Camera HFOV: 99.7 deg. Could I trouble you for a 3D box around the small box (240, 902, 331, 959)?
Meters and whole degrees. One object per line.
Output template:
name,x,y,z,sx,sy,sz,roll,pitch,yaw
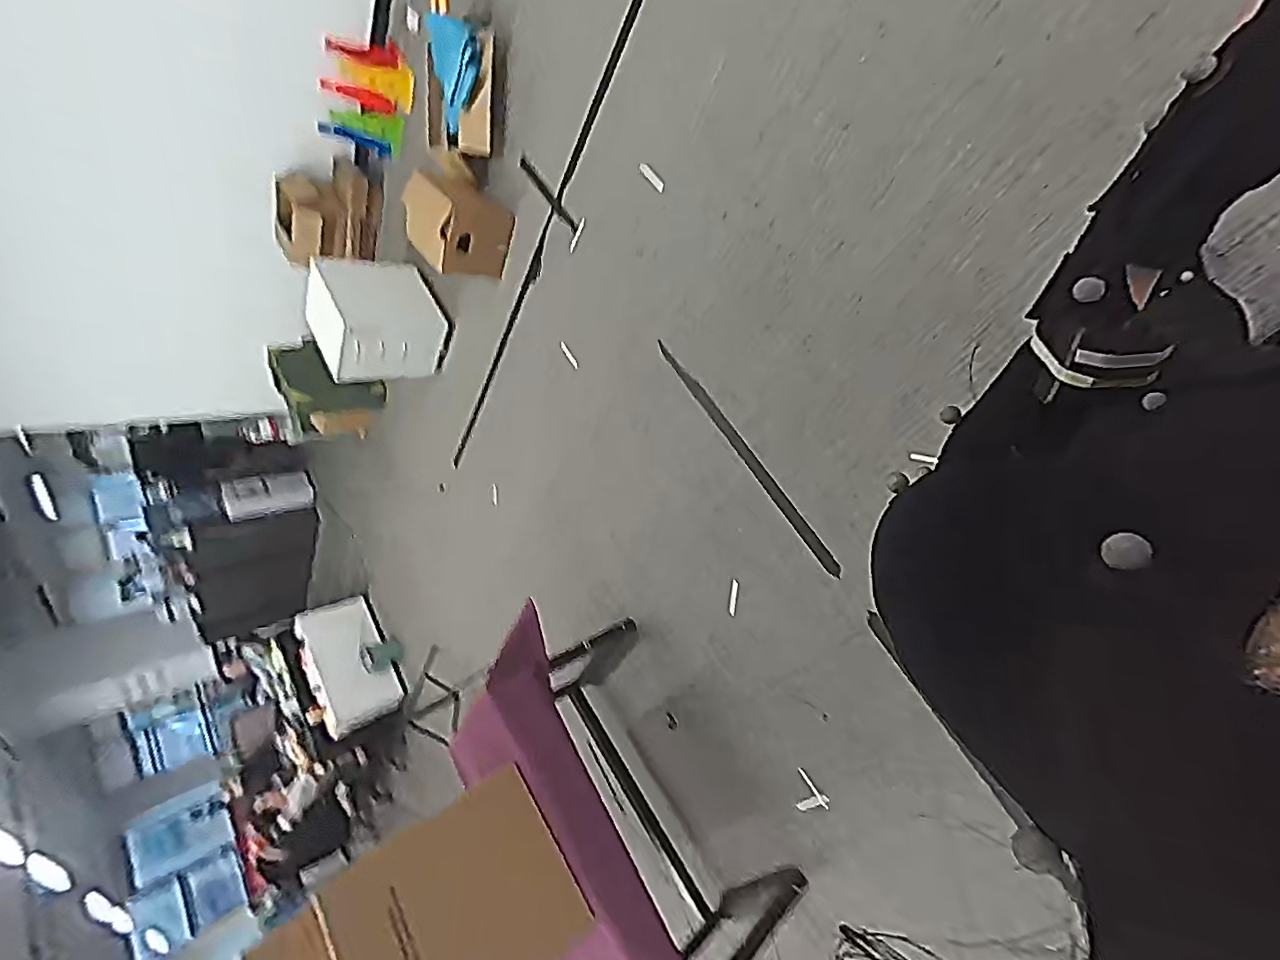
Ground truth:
small box,-0.932,1.264,1.427,0.168,0.176,0.179,51,132,25
